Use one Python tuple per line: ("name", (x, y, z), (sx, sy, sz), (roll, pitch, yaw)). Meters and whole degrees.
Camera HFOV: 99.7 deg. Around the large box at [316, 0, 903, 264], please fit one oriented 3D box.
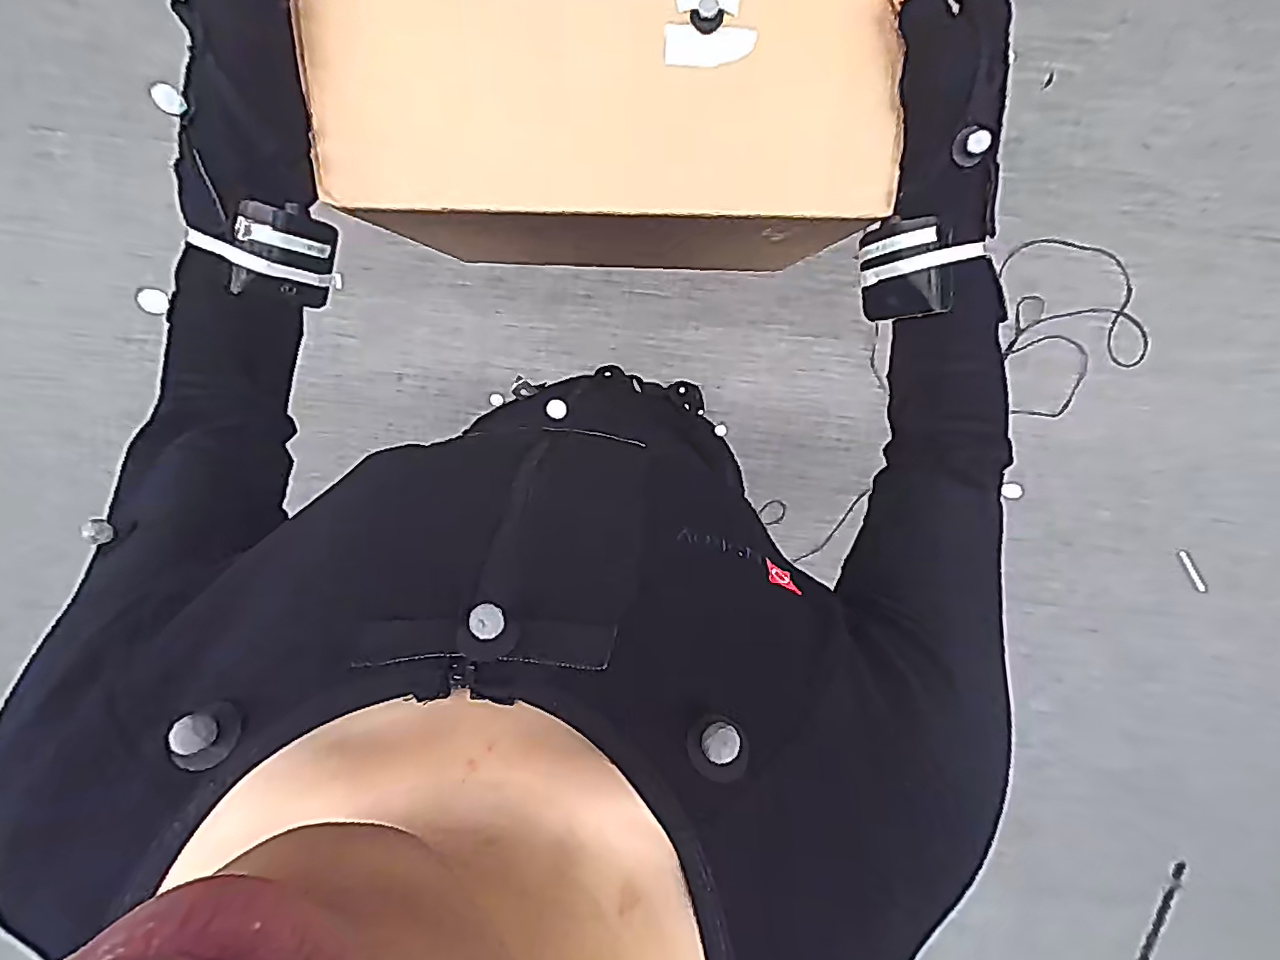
("large box", (-0.021, -0.387, 0.501), (0.408, 0.320, 0.320), (1, 105, 0))
